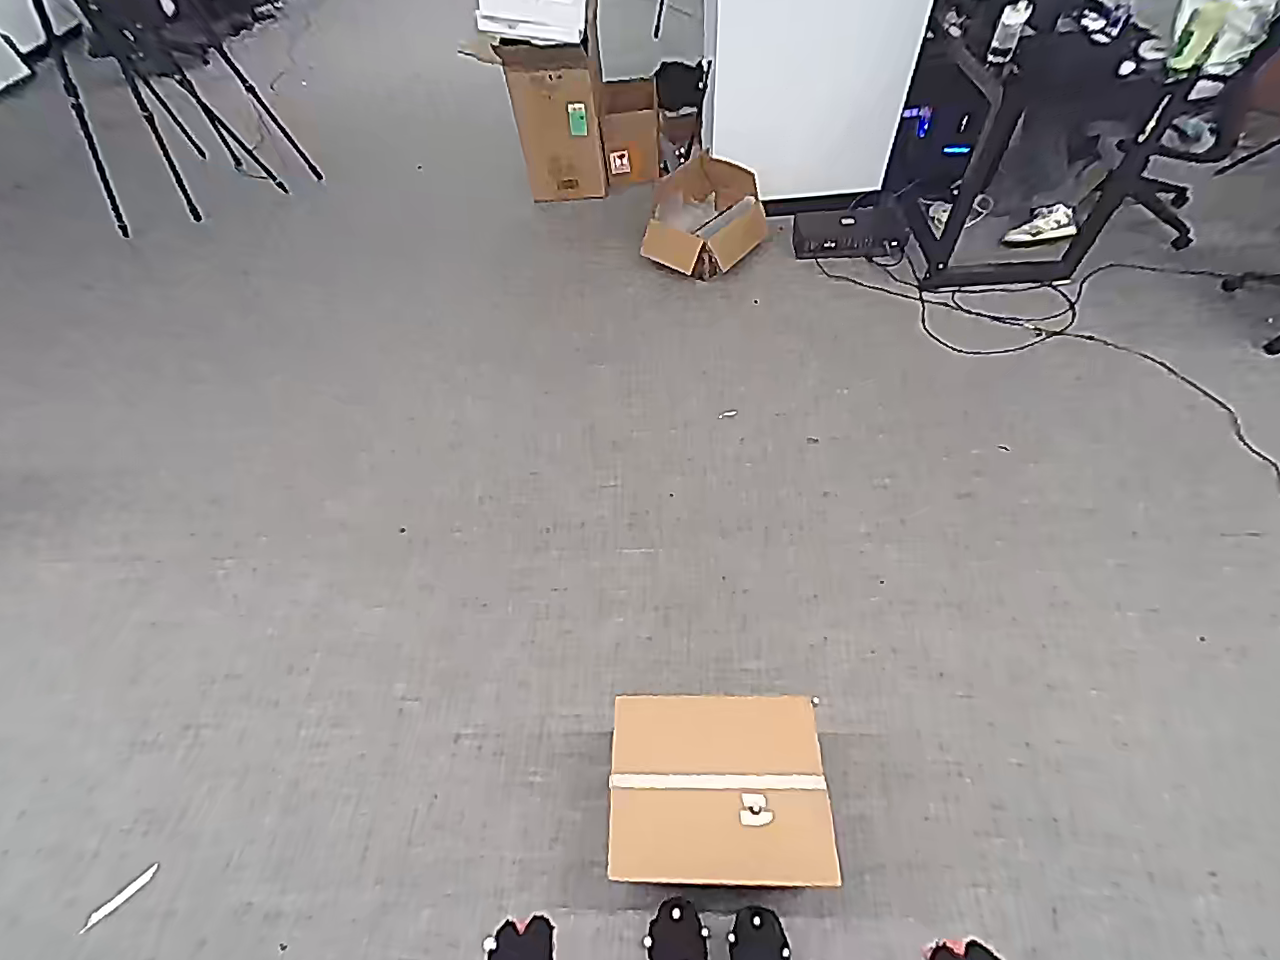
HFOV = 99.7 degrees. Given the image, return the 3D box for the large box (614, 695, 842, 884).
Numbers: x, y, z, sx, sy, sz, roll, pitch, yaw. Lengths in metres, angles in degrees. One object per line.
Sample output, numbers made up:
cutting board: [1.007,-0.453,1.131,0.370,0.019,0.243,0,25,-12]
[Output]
large box: [0.159,0.658,1.143,0.408,0.320,0.320,-2,54,3]
